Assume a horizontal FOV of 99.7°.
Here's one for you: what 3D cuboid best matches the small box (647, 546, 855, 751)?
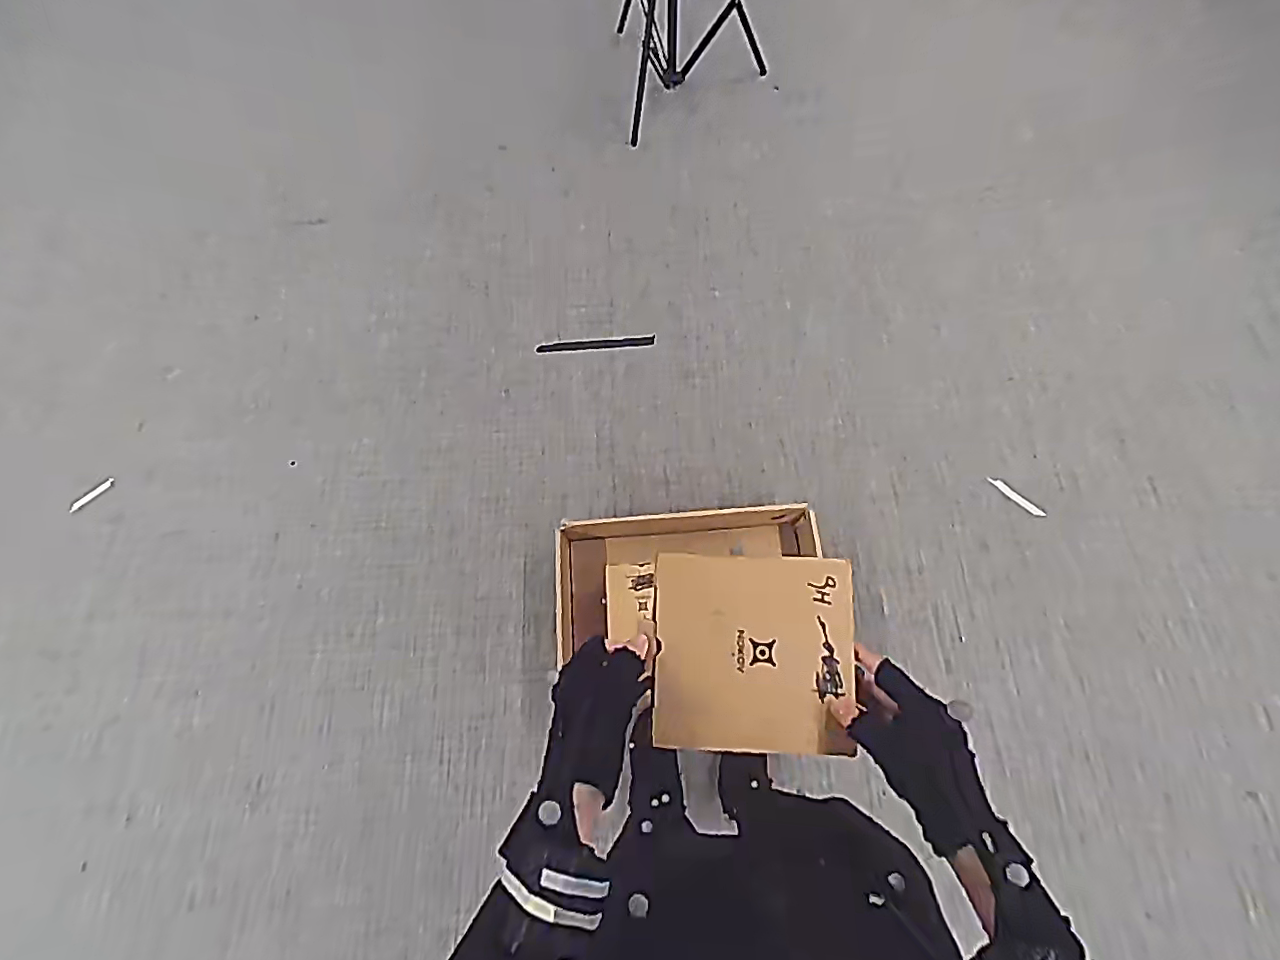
[{"bbox_3d":[0.103,0.159,0.550,0.179,0.176,0.168,1,79,5],"label":"small box"}]
